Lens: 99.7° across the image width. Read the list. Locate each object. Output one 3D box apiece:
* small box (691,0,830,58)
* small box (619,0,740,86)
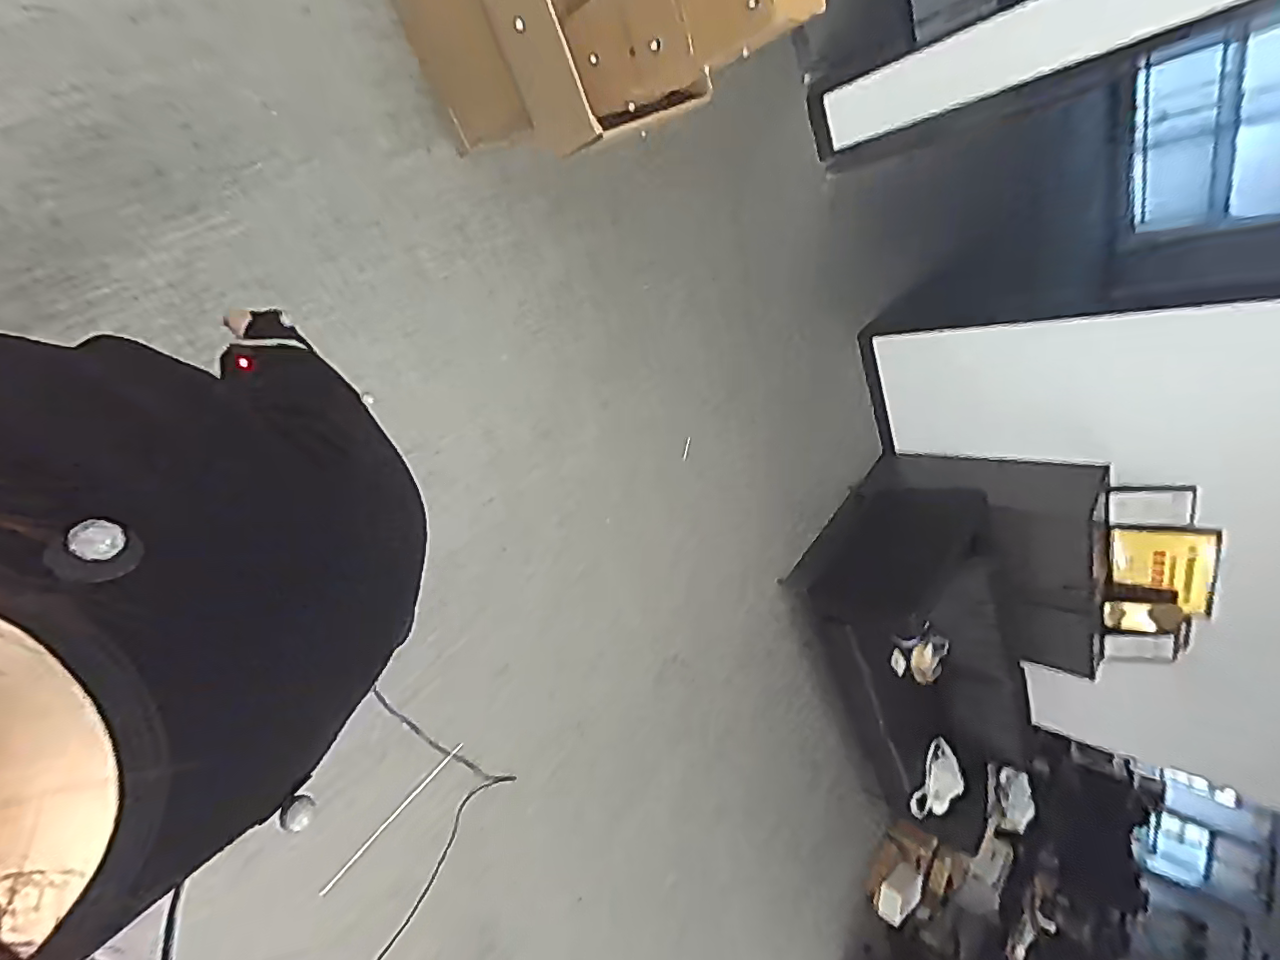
[{"bbox_3d":[0.188,-0.851,0.901,0.168,0.176,0.179,-41,123,-30],"label":"small box"},{"bbox_3d":[0.081,-0.874,1.020,0.179,0.176,0.168,-36,120,-33],"label":"small box"}]
